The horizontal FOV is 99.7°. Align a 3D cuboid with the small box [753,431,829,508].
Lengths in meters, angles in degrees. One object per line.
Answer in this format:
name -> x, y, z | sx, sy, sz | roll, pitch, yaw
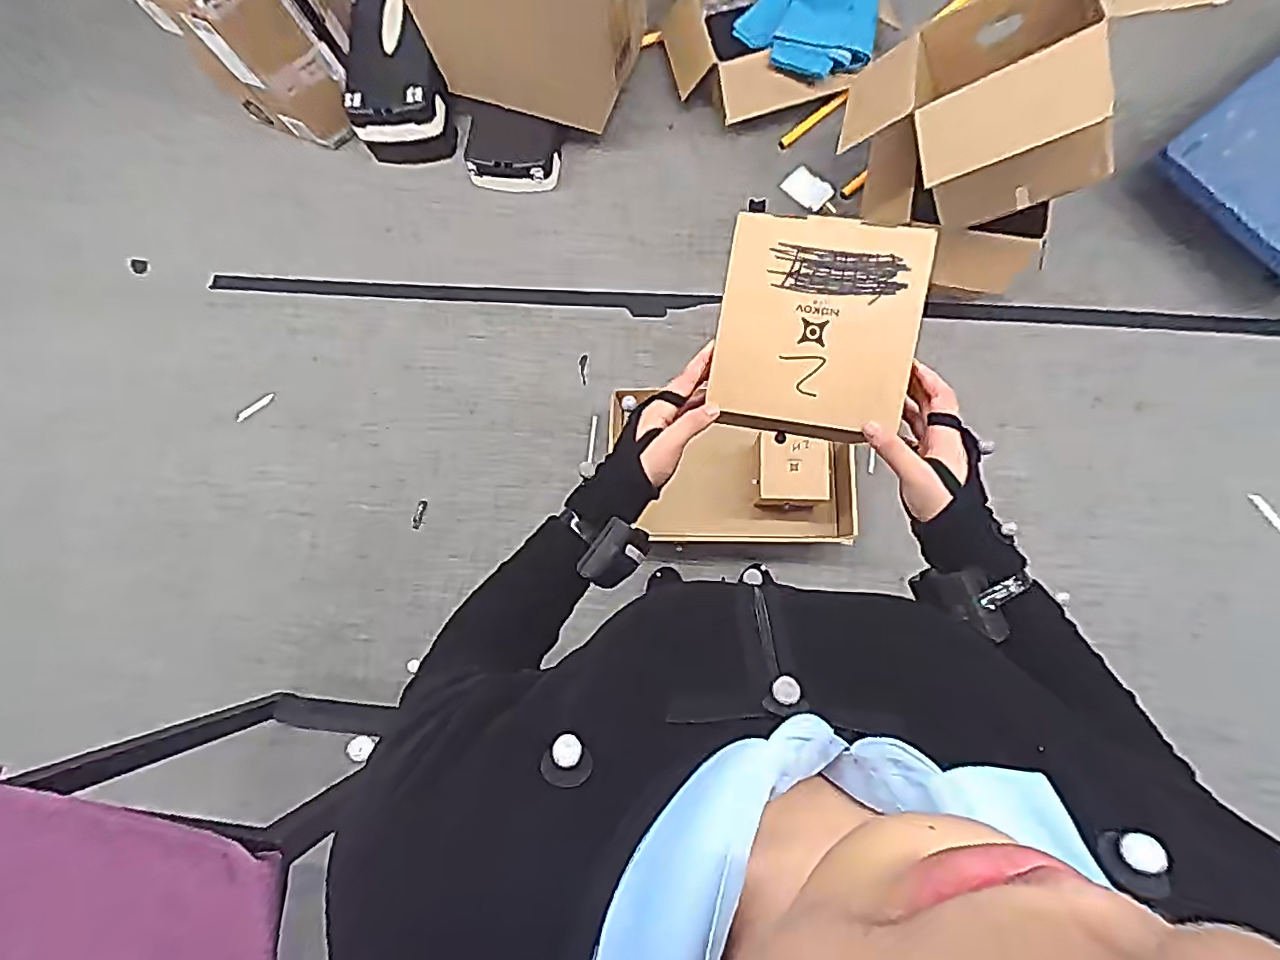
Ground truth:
small box -> 0.388, -0.021, 1.404 | 0.168, 0.176, 0.179 | 2, 80, 5
